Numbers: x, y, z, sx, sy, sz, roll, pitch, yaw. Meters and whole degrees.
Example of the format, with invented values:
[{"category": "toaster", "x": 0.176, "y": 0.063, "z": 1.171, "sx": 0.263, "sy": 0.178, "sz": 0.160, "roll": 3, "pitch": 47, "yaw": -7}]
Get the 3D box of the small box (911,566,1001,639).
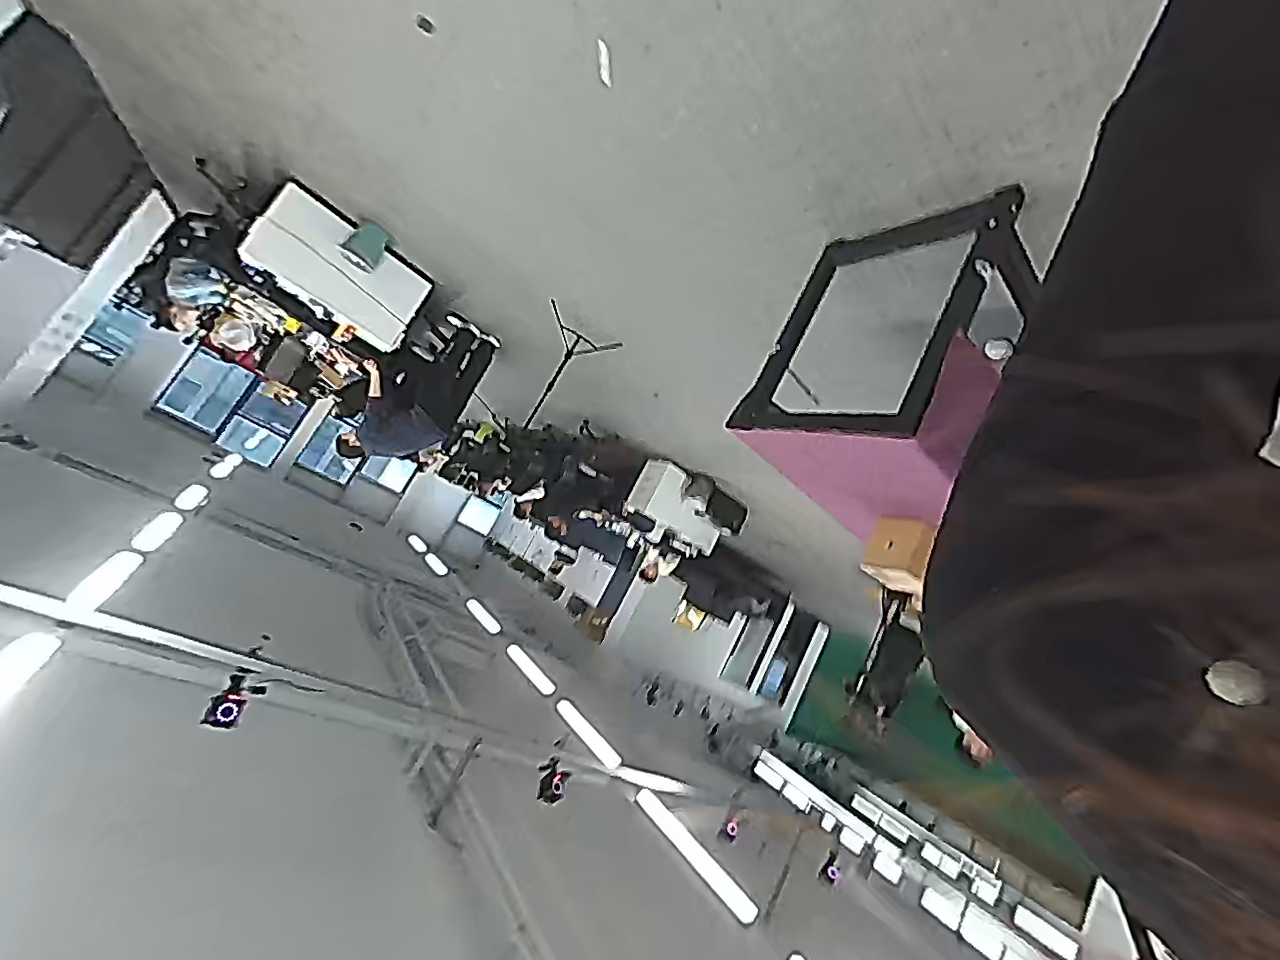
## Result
[{"category": "small box", "x": 1.051, "y": 0.399, "z": 1.795, "sx": 0.168, "sy": 0.176, "sz": 0.179, "roll": 32, "pitch": 168, "yaw": -18}]
